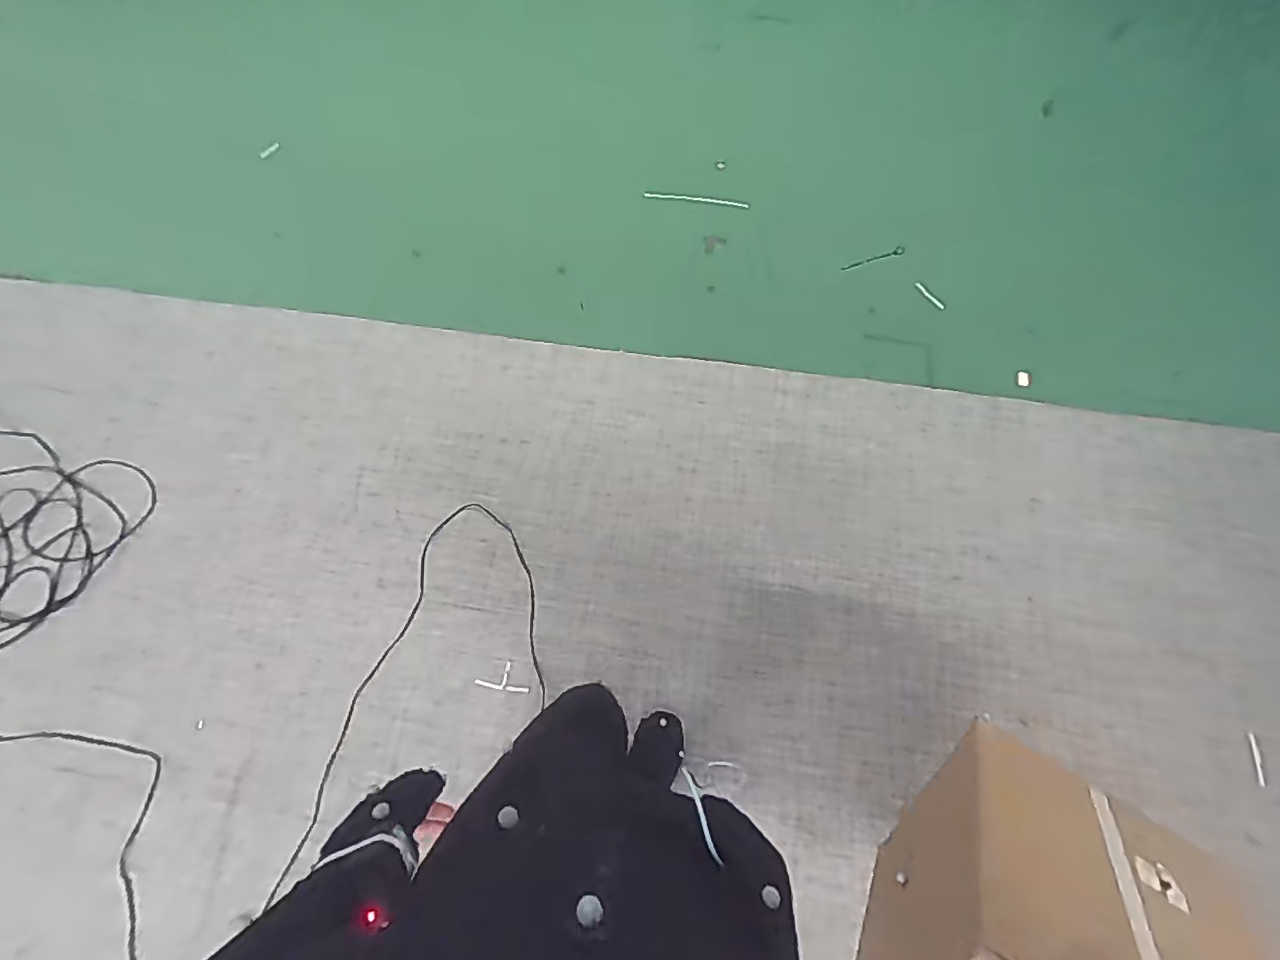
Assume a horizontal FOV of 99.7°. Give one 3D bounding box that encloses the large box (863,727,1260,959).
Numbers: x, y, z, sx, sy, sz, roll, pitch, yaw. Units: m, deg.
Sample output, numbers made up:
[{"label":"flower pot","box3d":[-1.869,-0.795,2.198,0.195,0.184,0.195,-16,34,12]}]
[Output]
[{"label":"large box","box3d":[0.481,0.604,0.648,0.320,0.408,0.320,31,112,23]}]
